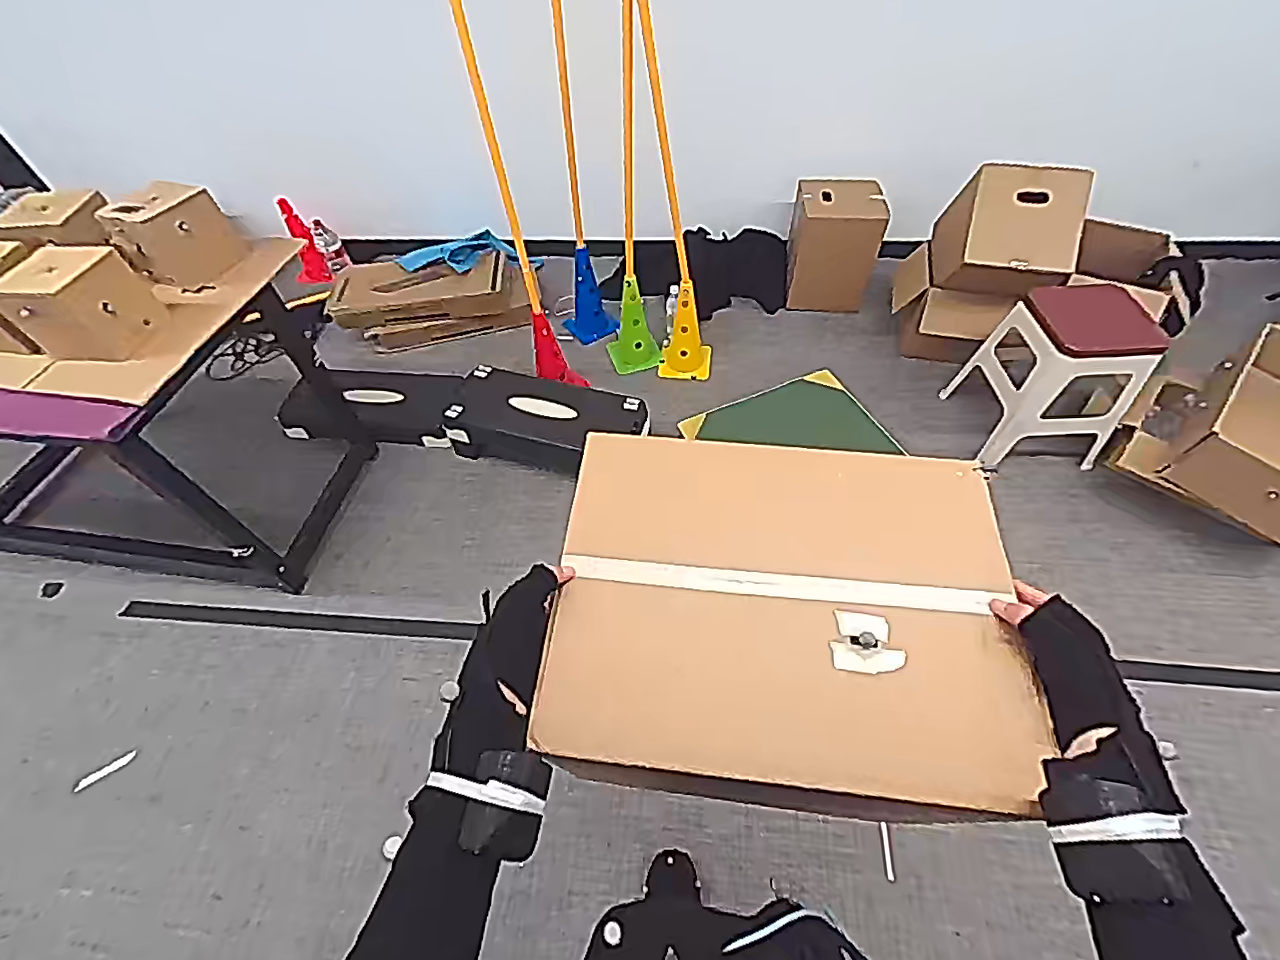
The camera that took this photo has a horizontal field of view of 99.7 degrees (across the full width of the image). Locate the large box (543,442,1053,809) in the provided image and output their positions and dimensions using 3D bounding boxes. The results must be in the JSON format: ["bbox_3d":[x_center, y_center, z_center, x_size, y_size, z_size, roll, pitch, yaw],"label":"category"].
[{"bbox_3d":[0.133,0.178,0.624,0.408,0.320,0.320,5,59,4],"label":"large box"}]
